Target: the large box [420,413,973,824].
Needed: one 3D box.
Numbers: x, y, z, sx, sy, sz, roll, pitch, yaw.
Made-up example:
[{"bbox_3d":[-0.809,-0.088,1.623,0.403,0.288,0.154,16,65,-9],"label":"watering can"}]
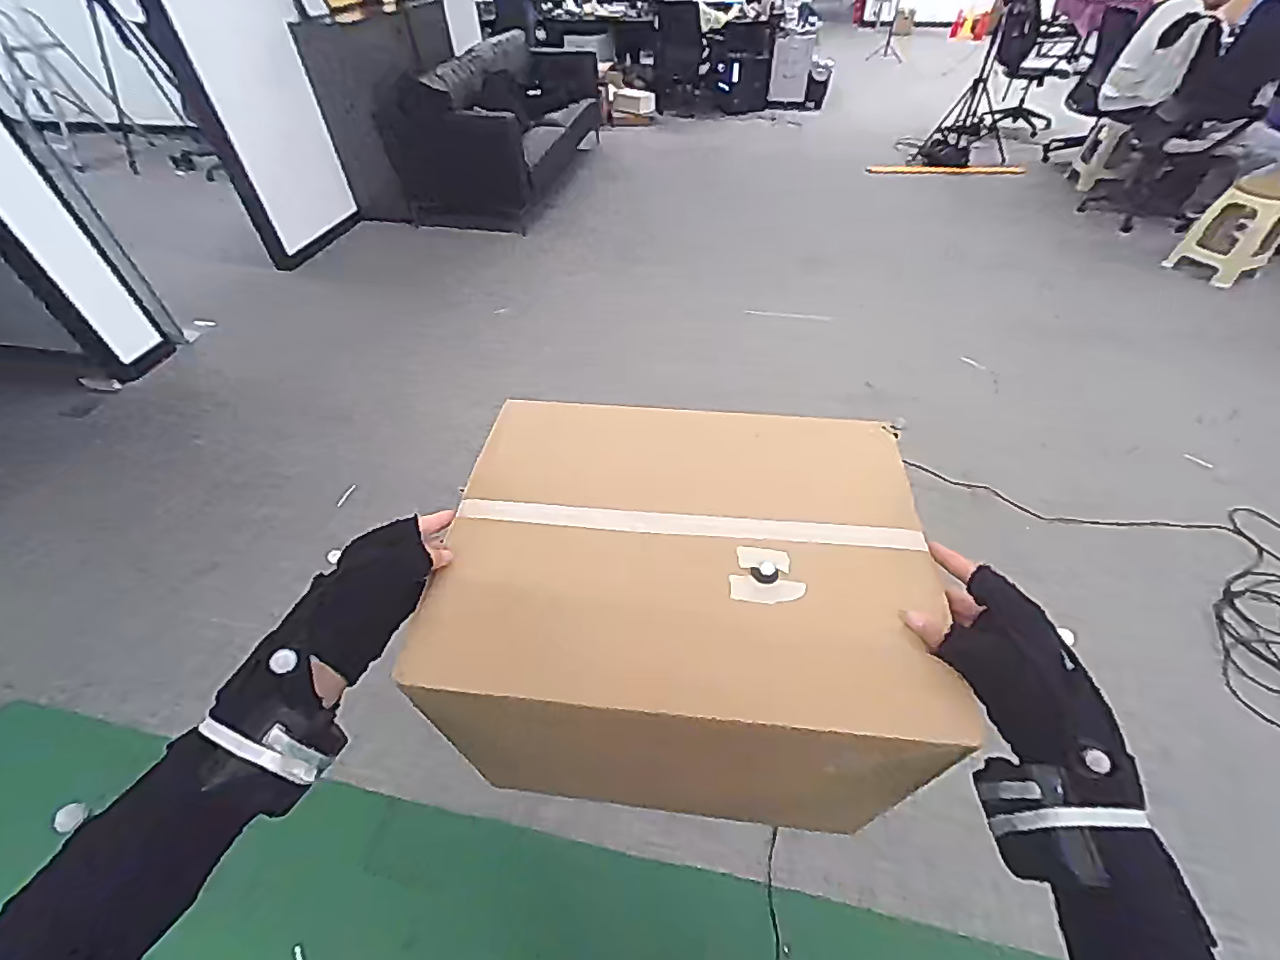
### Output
[{"bbox_3d":[0.046,0.150,0.591,0.408,0.320,0.320,4,48,4],"label":"large box"}]
